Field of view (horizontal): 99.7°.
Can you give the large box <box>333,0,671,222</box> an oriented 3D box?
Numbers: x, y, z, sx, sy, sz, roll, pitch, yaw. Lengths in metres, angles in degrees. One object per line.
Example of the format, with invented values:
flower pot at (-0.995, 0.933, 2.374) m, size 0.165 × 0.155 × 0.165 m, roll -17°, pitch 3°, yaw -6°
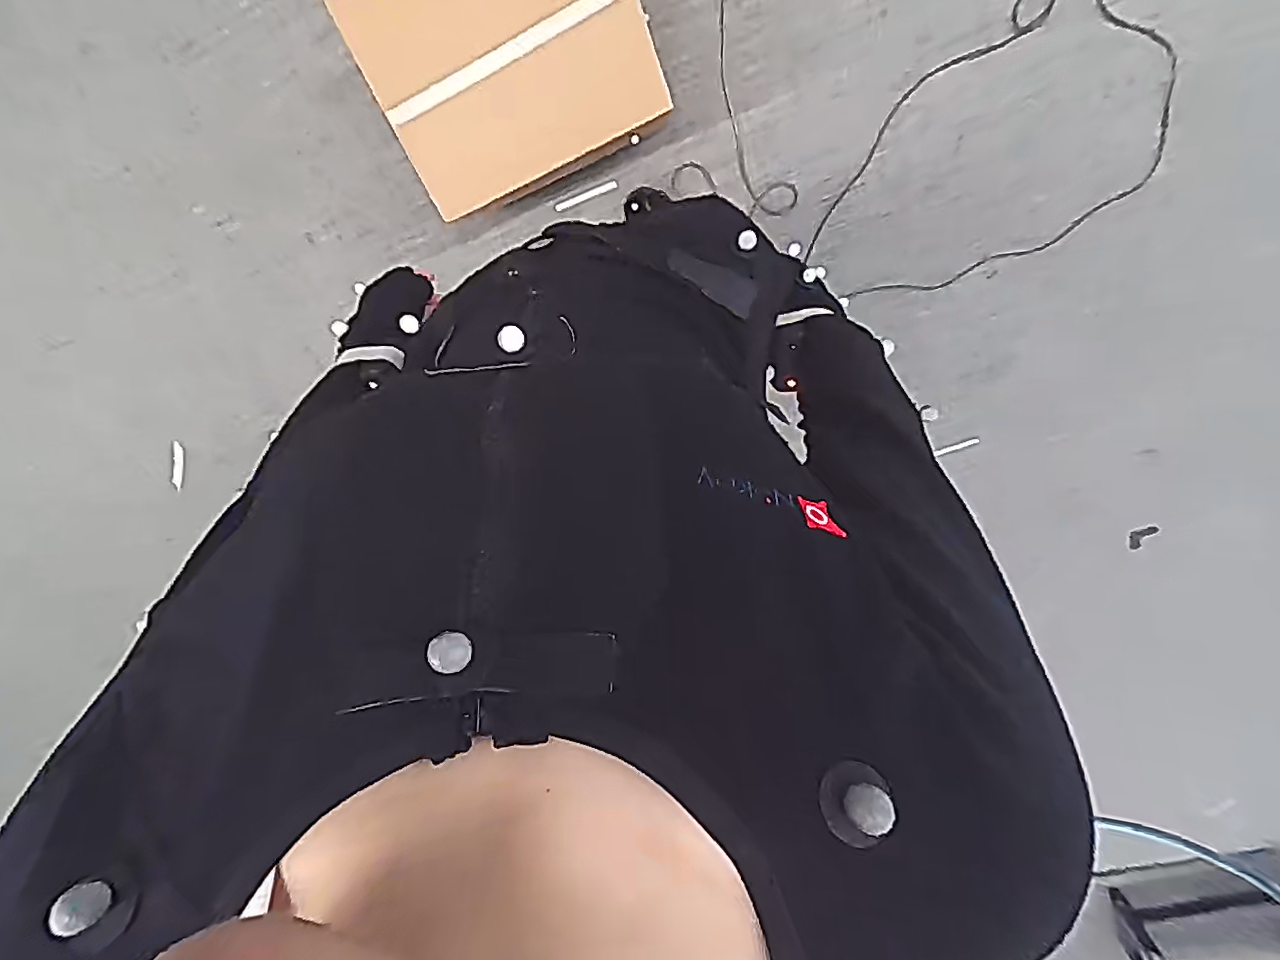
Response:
large box at (-0.189, -0.690, 0.909) m, size 0.408 × 0.320 × 0.320 m, roll -20°, pitch 117°, yaw 13°
